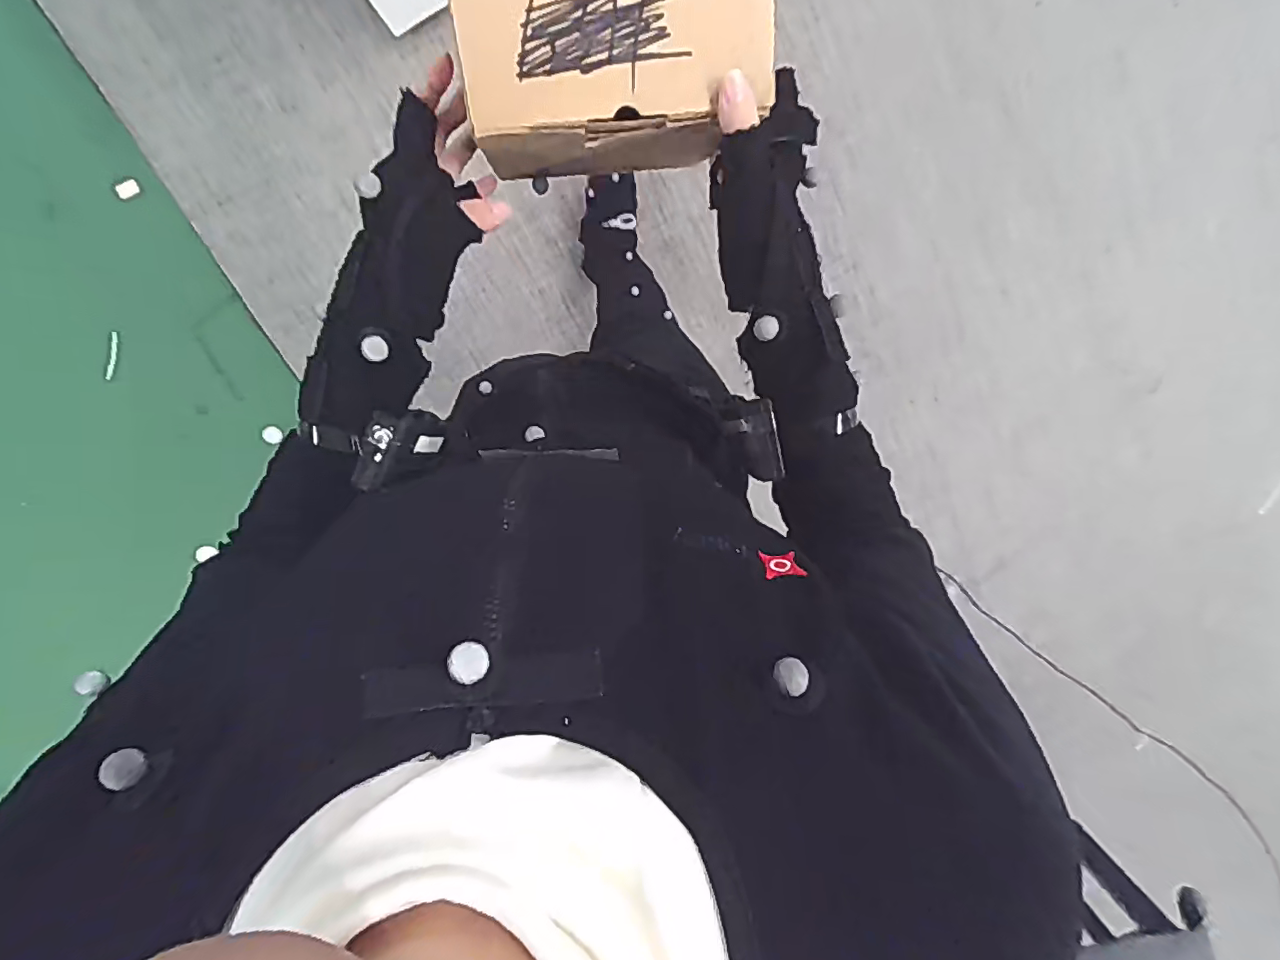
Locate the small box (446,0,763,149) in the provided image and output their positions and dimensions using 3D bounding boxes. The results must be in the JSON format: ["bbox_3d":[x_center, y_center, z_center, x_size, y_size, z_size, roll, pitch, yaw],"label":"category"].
[{"bbox_3d":[-0.029,-0.318,0.333,0.168,0.176,0.179,-7,111,-6],"label":"small box"}]
